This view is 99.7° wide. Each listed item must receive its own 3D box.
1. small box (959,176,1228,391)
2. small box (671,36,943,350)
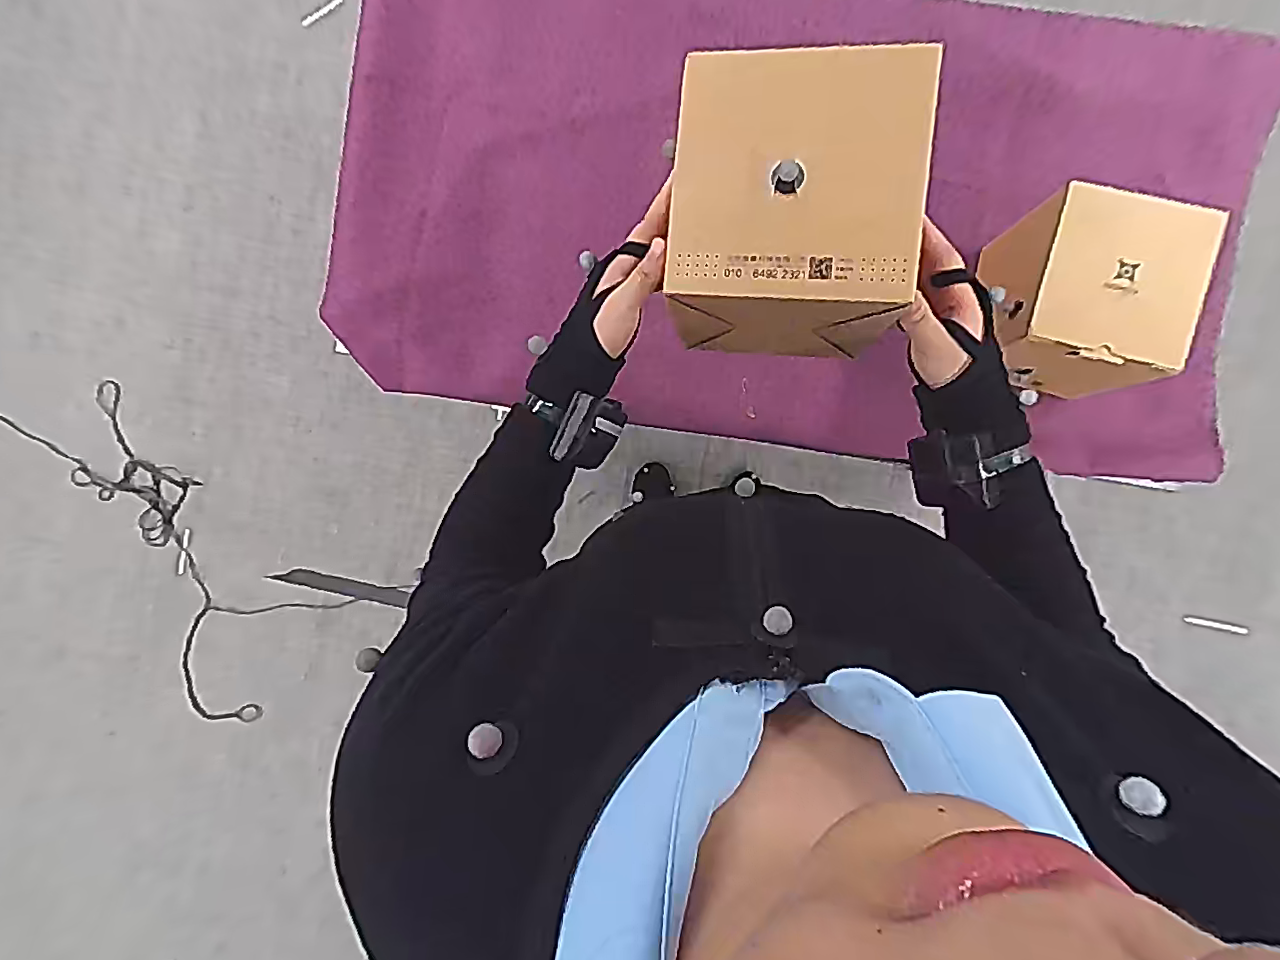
[{"bbox_3d":[0.522,-0.220,0.652,0.168,0.176,0.179,15,91,4],"label":"small box"},{"bbox_3d":[0.121,-0.205,0.437,0.168,0.179,0.176,7,93,10],"label":"small box"}]
